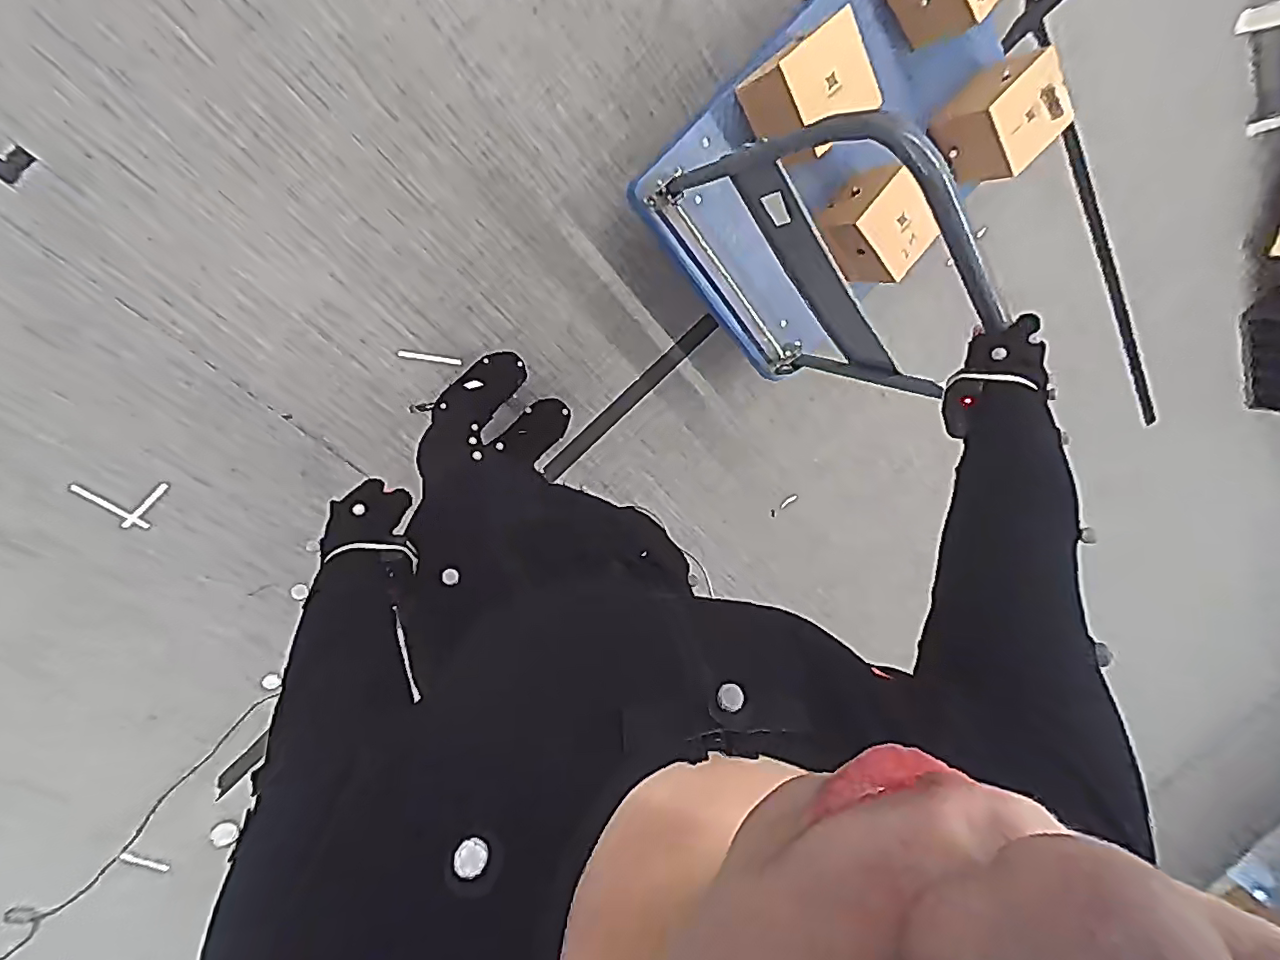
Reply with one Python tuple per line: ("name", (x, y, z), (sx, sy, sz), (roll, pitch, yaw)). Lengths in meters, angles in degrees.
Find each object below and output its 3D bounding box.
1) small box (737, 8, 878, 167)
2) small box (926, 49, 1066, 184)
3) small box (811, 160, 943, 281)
("small box", (0.320, -0.751, 1.060), (0.168, 0.176, 0.179), (-40, 120, -1))
("small box", (0.786, -0.794, 1.203), (0.179, 0.176, 0.168), (-45, 118, 4))
("small box", (0.517, -0.565, 1.203), (0.179, 0.176, 0.168), (38, 96, -27))
